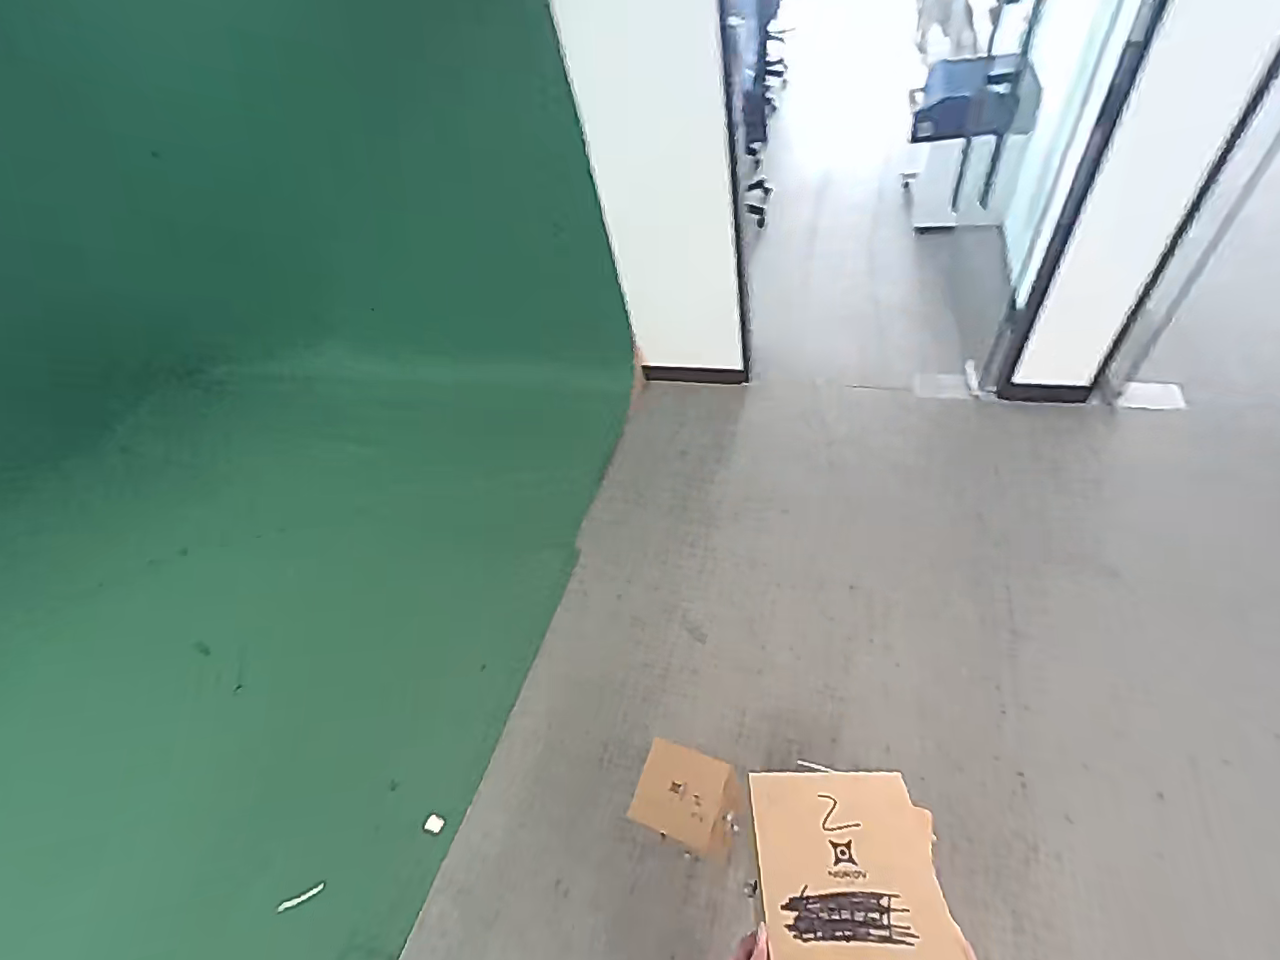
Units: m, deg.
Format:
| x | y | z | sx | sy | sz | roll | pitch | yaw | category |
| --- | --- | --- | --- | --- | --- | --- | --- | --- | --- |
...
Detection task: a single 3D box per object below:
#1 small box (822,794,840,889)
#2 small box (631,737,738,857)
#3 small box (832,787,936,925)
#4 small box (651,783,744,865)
| x | y | z | sx | sy | sz | roll | pitch | yaw | category |
| --- | --- | --- | --- | --- | --- | --- | --- | --- | --- |
| 0.500 | 0.818 | 1.180 | 0.179 | 0.176 | 0.168 | 9 | 54 | 21 | small box |
| 0.105 | 0.692 | 1.176 | 0.179 | 0.176 | 0.168 | 11 | 55 | 23 | small box |
| 0.467 | 0.729 | 1.048 | 0.168 | 0.176 | 0.179 | 5 | 52 | 20 | small box |
| 0.145 | 0.798 | 1.297 | 0.179 | 0.176 | 0.168 | 11 | 54 | 22 | small box |
